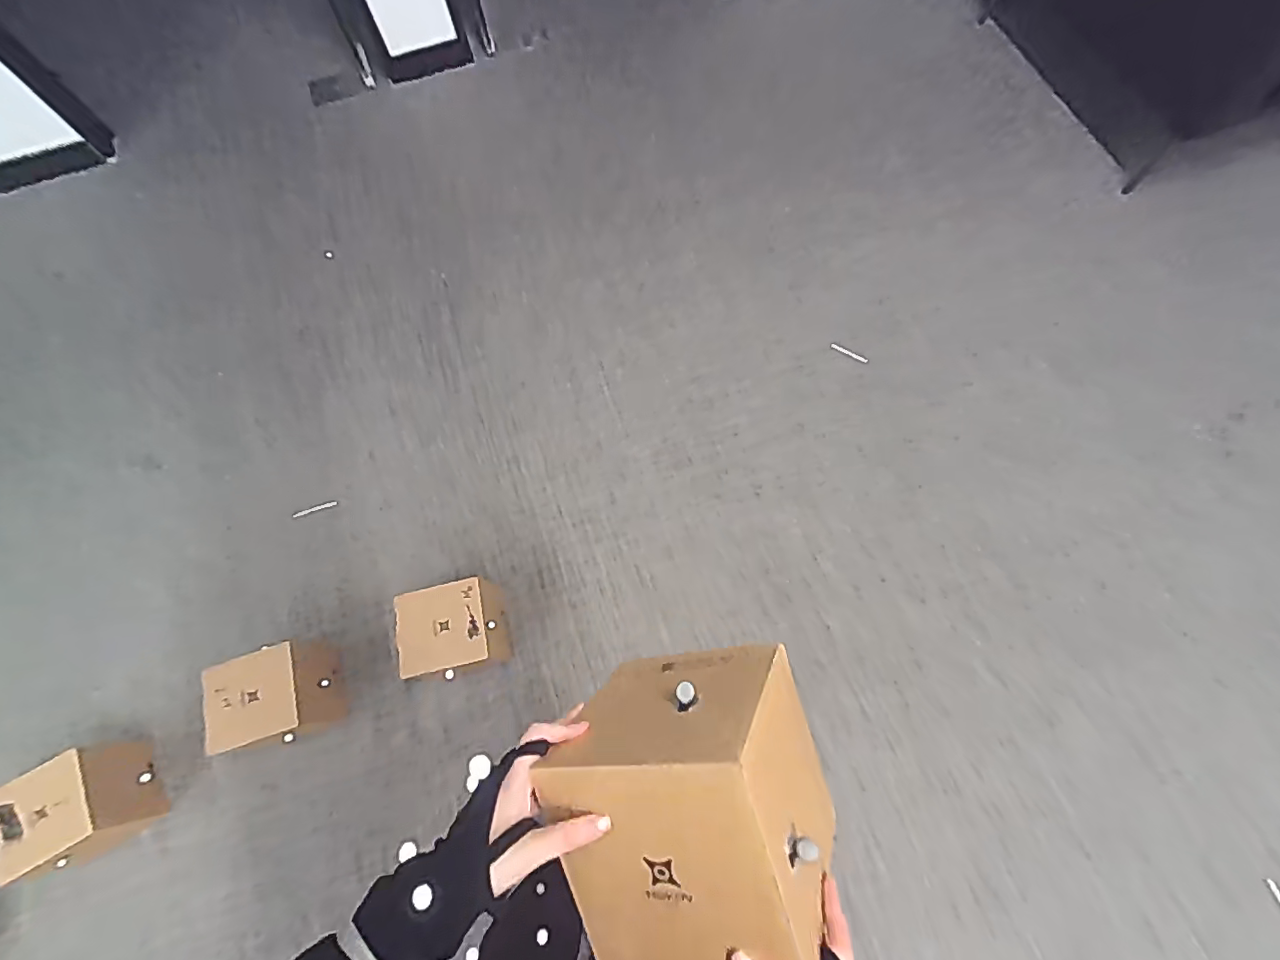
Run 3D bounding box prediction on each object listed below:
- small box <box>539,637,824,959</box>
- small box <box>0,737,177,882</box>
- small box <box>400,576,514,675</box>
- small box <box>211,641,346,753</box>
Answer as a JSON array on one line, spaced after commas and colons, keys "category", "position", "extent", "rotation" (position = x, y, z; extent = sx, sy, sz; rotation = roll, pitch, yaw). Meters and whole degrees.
[{"category": "small box", "position": [0.048, 0.248, 0.457], "extent": [0.168, 0.176, 0.179], "rotation": [-16, 95, 25]}, {"category": "small box", "position": [-1.080, 0.634, 1.064], "extent": [0.179, 0.176, 0.168], "rotation": [-30, 72, -9]}, {"category": "small box", "position": [-0.384, 0.315, 1.149], "extent": [0.179, 0.176, 0.168], "rotation": [-13, 71, -2]}, {"category": "small box", "position": [-0.735, 0.442, 1.119], "extent": [0.179, 0.176, 0.168], "rotation": [-18, 70, -4]}]
